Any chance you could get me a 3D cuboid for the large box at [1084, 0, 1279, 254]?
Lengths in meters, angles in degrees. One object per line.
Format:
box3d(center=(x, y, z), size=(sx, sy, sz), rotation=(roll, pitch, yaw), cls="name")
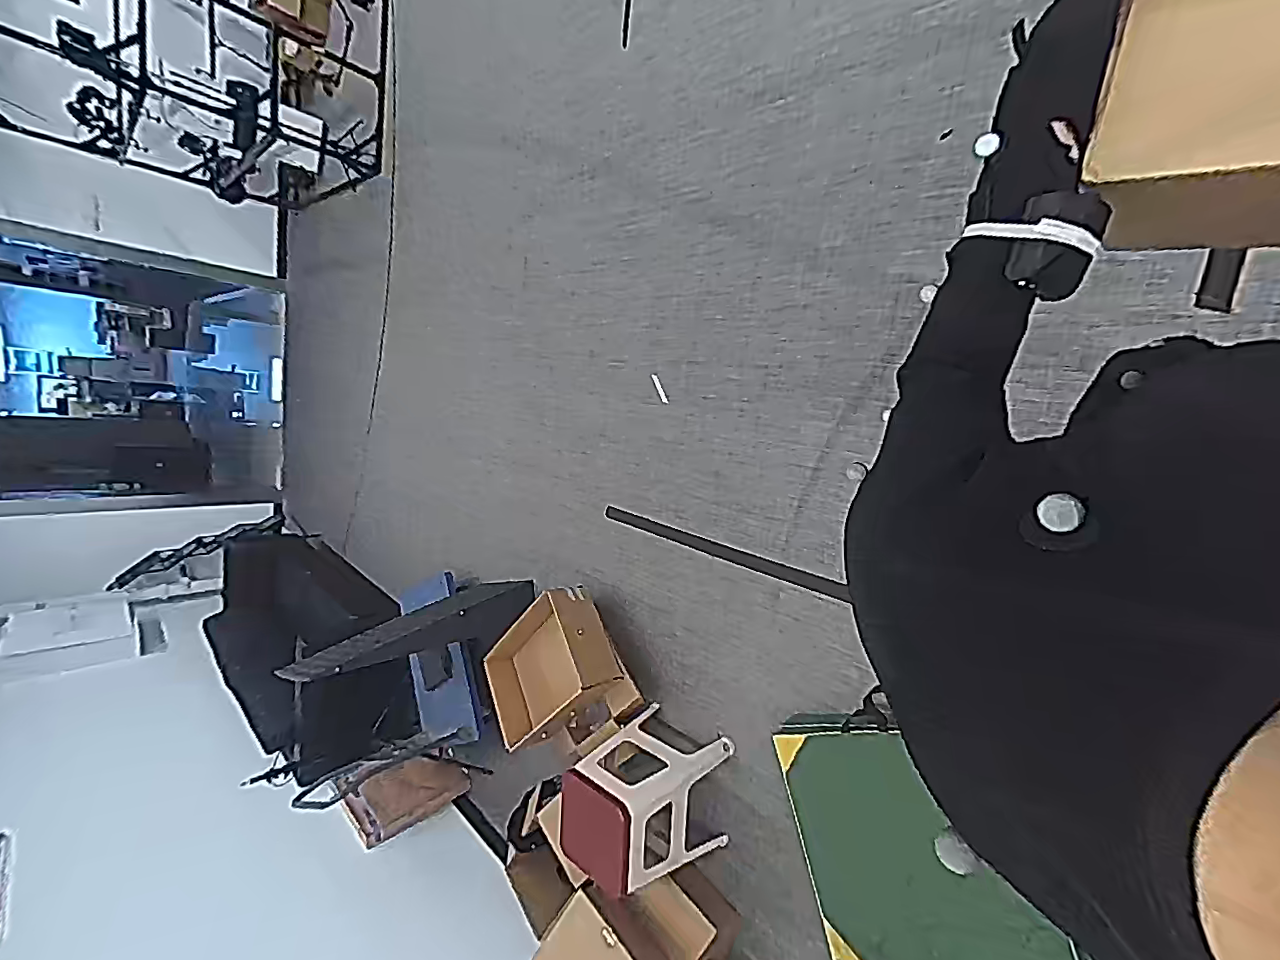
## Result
box3d(center=(0.589, -0.348, 0.357), size=(0.408, 0.320, 0.320), rotation=(17, 110, 39), cls="large box")
